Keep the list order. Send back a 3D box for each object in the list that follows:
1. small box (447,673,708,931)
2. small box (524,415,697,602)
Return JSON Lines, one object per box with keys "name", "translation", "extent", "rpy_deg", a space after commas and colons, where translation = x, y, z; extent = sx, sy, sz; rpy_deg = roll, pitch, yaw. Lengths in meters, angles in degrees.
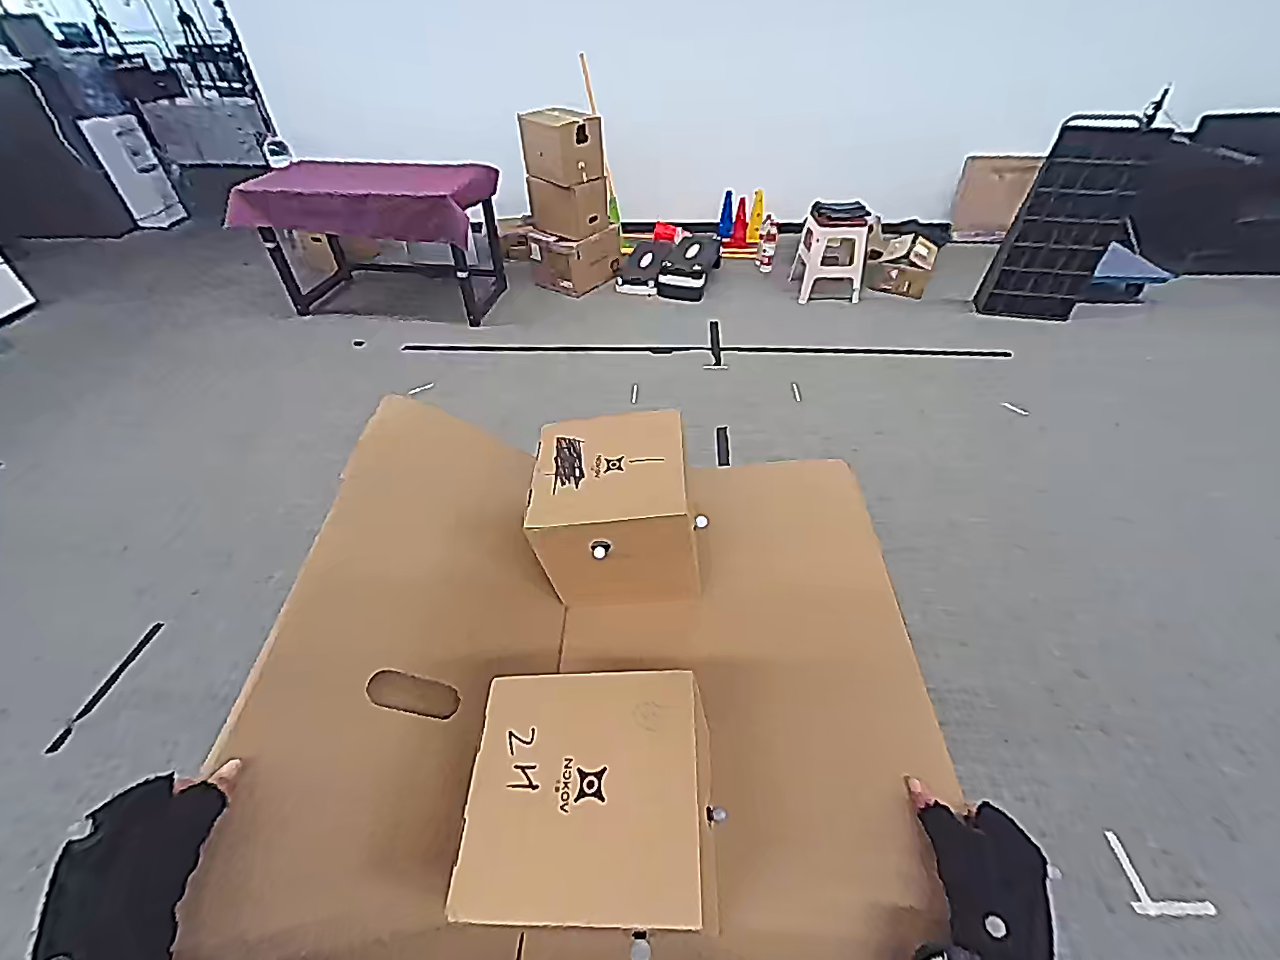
{"name": "small box", "translation": [-0.032, 0.280, 0.470], "extent": [0.179, 0.176, 0.168], "rpy_deg": [-5, 48, 9]}
{"name": "small box", "translation": [-0.026, 0.041, 0.681], "extent": [0.179, 0.176, 0.168], "rpy_deg": [-6, 48, 7]}
